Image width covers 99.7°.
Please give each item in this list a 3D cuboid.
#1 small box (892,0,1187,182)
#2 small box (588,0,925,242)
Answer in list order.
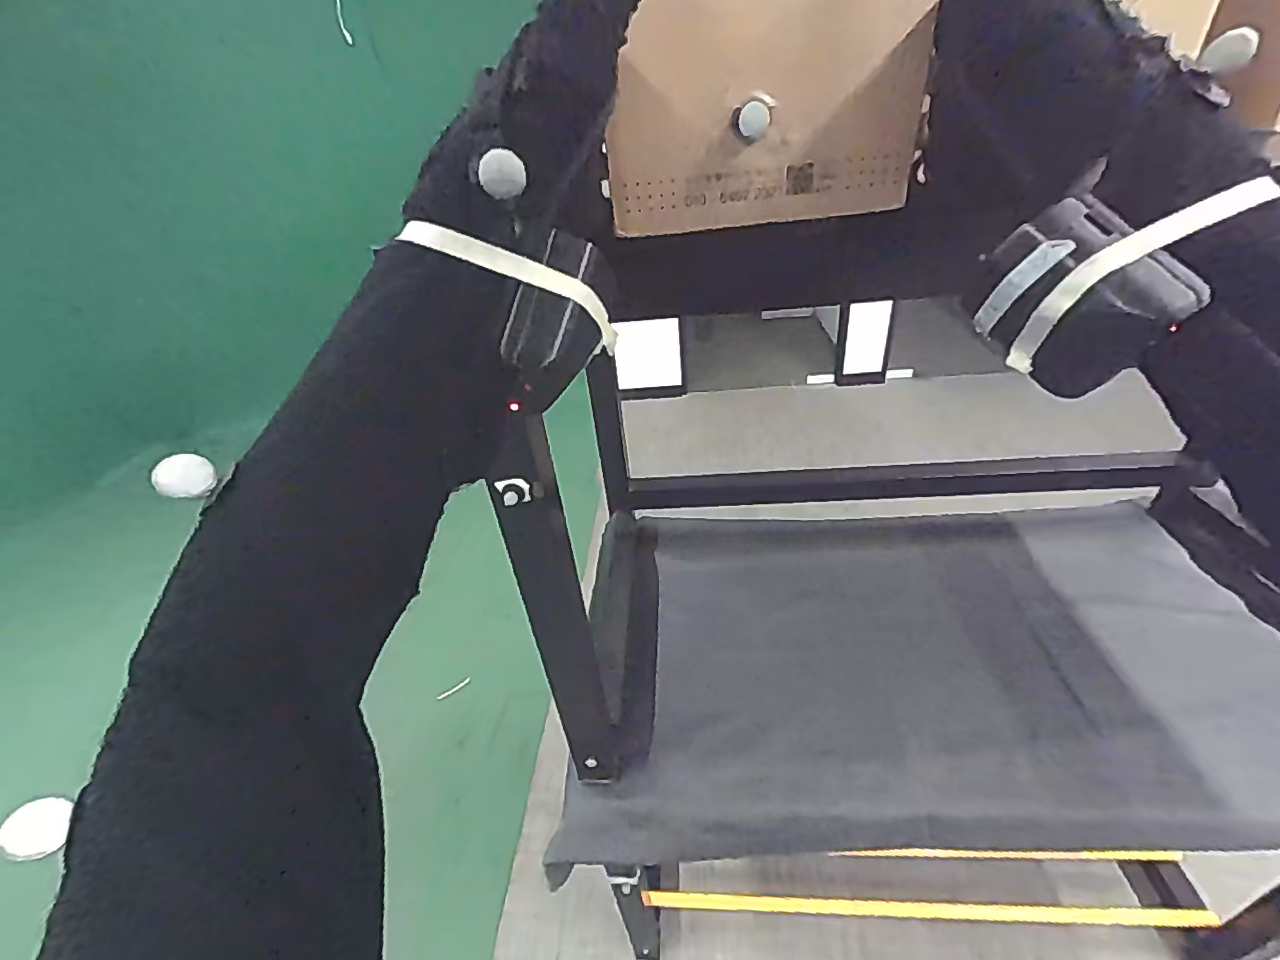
[{"bbox_3d":[0.291,-0.347,0.436,0.168,0.176,0.179,-3,34,7],"label":"small box"},{"bbox_3d":[0.056,-0.258,0.339,0.168,0.176,0.179,-5,36,2],"label":"small box"}]
